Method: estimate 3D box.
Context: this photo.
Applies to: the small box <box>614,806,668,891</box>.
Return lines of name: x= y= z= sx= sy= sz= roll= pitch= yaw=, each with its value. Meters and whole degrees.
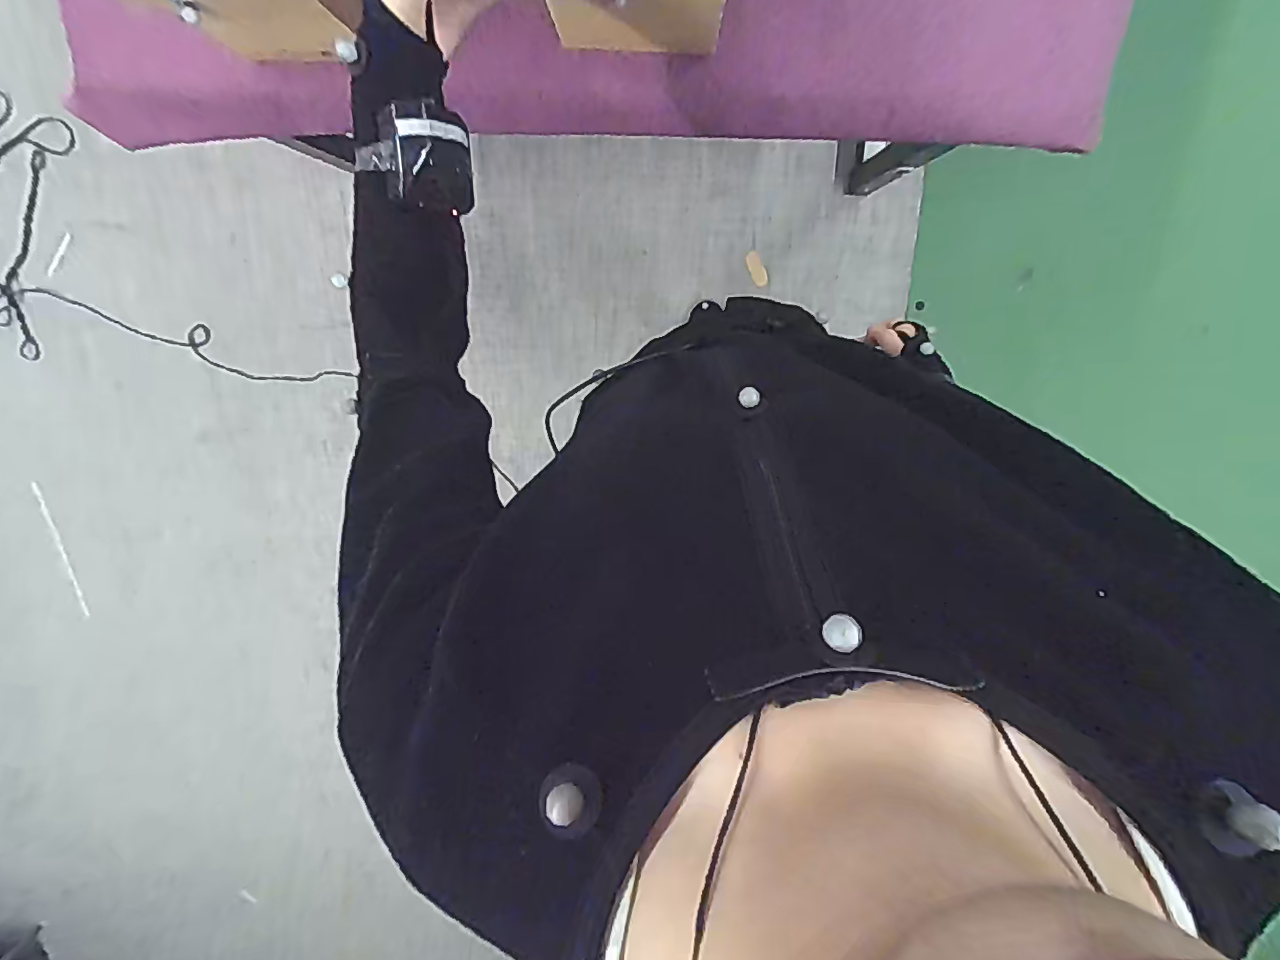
small box: x=0.006 y=1.255 z=1.851 sx=0.168 sy=0.176 sz=0.179 roll=5 pitch=108 yaw=2

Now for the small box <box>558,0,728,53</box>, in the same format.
small box: x=0.005 y=-0.541 z=0.515 sx=0.179 sy=0.176 sz=0.168 roll=3 pitch=108 yaw=1

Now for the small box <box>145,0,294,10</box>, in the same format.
small box: x=-0.373 y=-0.484 z=0.379 sx=0.168 sy=0.176 sz=0.179 roll=-2 pitch=107 yaw=4
